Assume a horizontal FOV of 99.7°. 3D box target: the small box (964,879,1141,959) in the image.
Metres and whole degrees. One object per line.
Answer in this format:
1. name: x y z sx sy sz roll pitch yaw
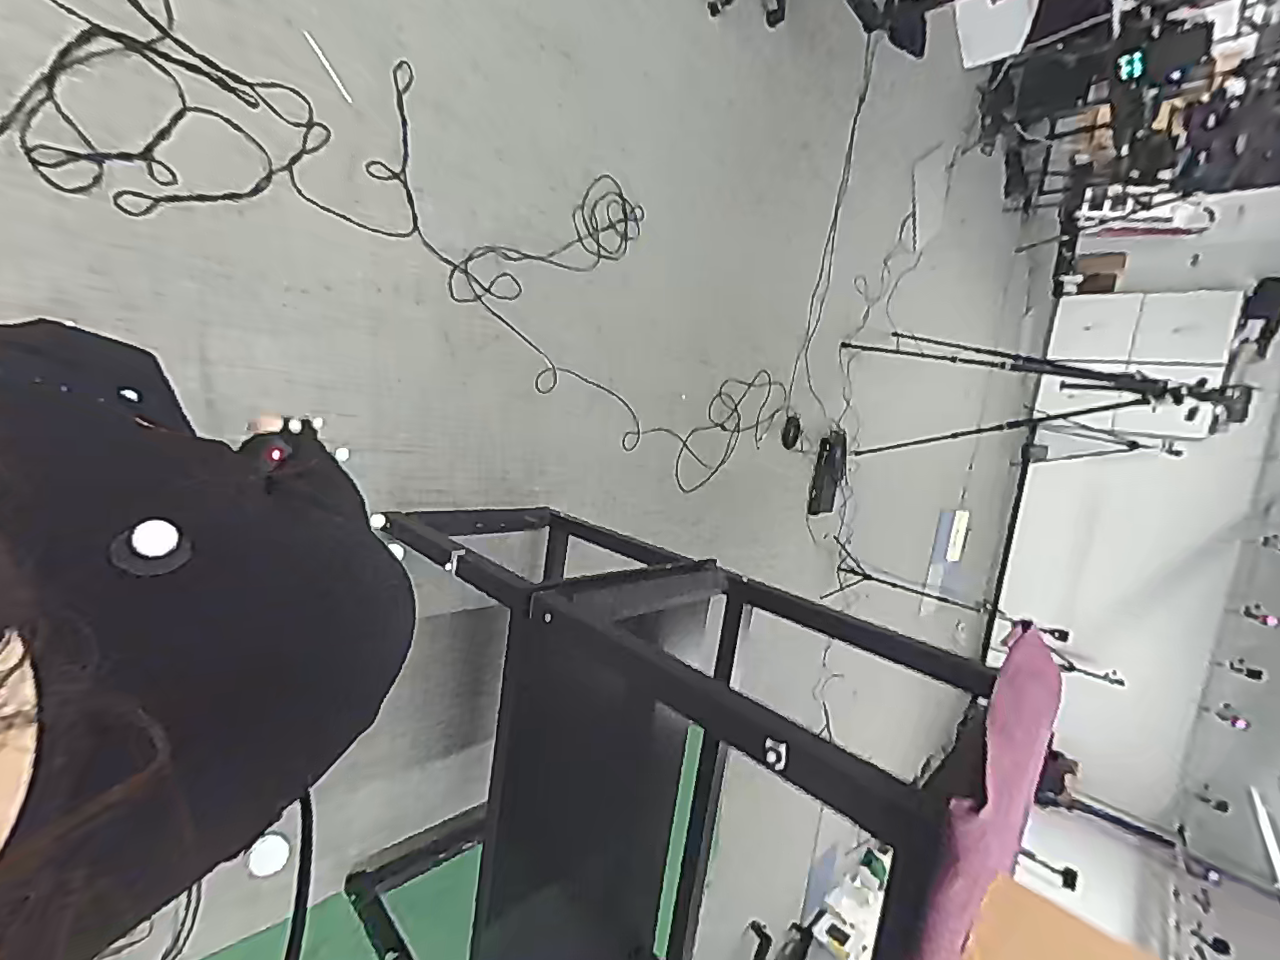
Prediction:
1. small box: 0.429 0.571 0.554 0.179 0.176 0.168 -3 102 -44
